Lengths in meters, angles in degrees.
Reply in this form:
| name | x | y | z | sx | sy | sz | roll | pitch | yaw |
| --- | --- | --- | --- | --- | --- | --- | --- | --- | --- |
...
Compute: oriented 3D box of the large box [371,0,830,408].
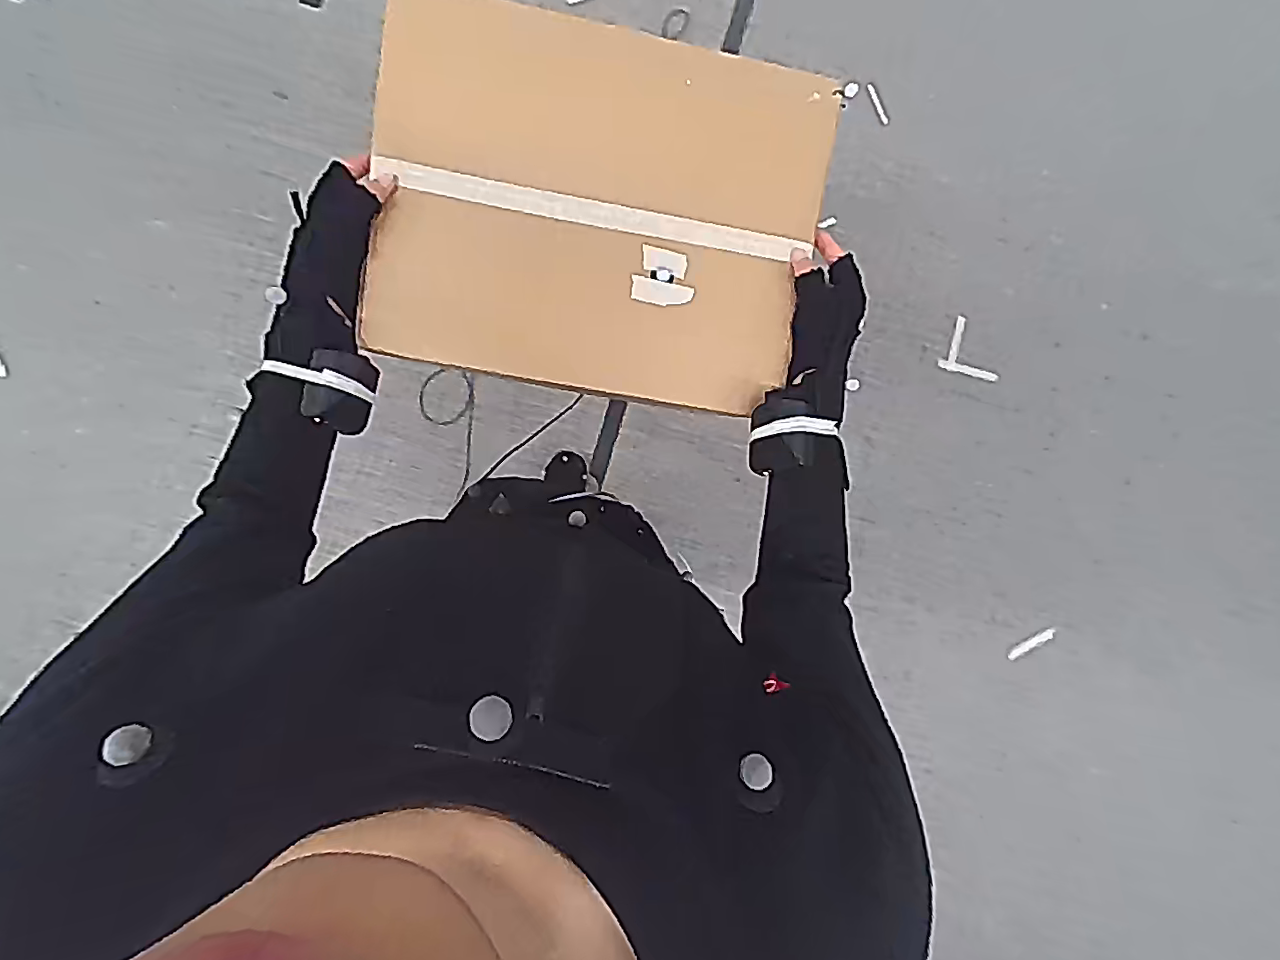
| name | x | y | z | sx | sy | sz | roll | pitch | yaw |
| --- | --- | --- | --- | --- | --- | --- | --- | --- | --- |
| large box | -0.052 | -0.268 | 0.652 | 0.408 | 0.320 | 0.320 | 8 | 98 | -7 |
